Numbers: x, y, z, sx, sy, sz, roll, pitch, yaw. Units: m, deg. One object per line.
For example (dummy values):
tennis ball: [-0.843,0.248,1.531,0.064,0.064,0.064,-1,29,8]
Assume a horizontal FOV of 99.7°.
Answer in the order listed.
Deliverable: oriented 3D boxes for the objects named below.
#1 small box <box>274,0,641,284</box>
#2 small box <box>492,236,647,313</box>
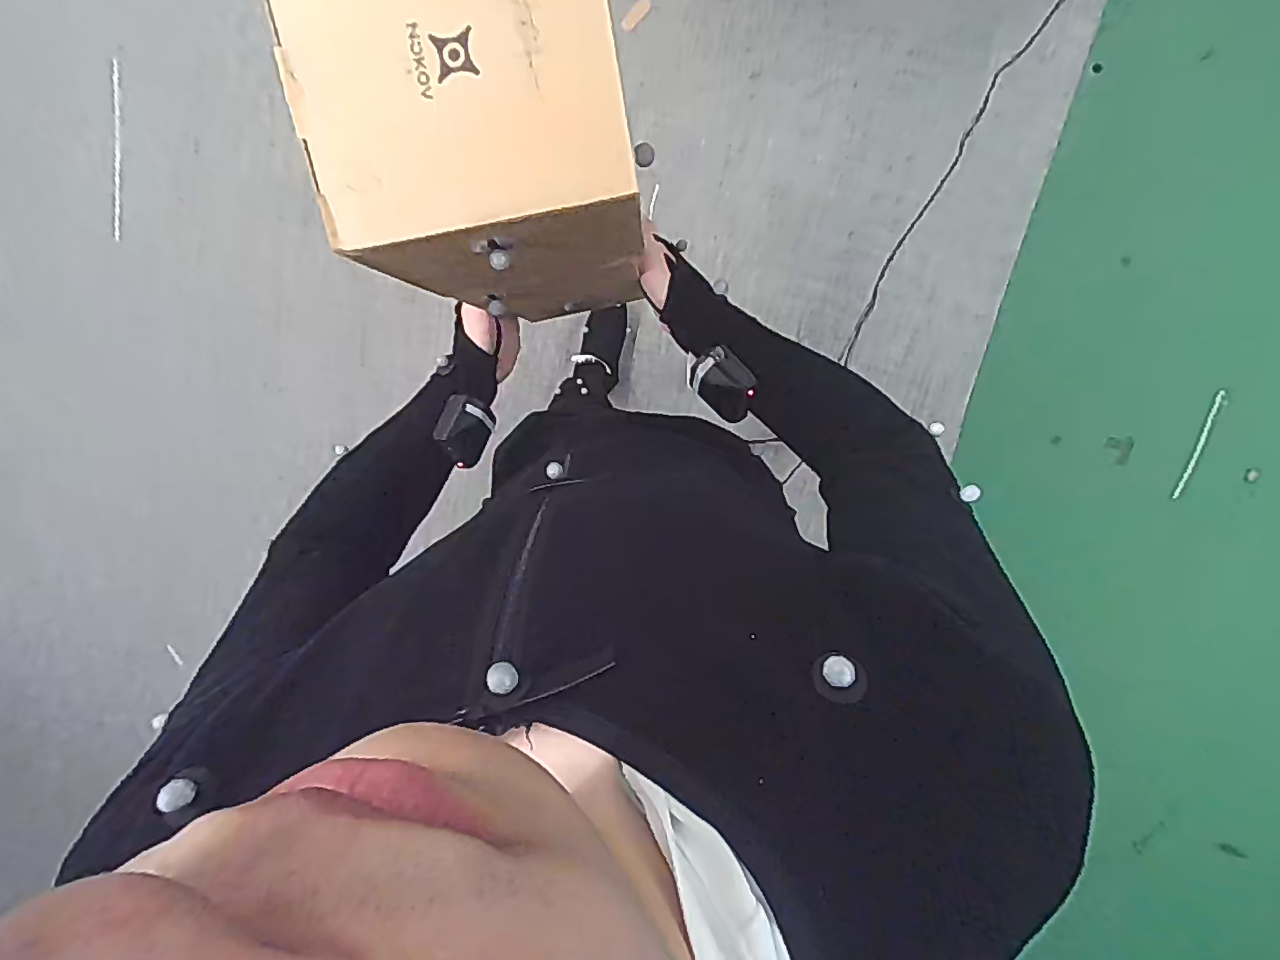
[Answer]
small box: [-0.098,-0.239,0.364,0.179,0.176,0.168,-8,101,4]
small box: [-0.091,-0.317,0.682,0.179,0.176,0.168,-10,100,4]
